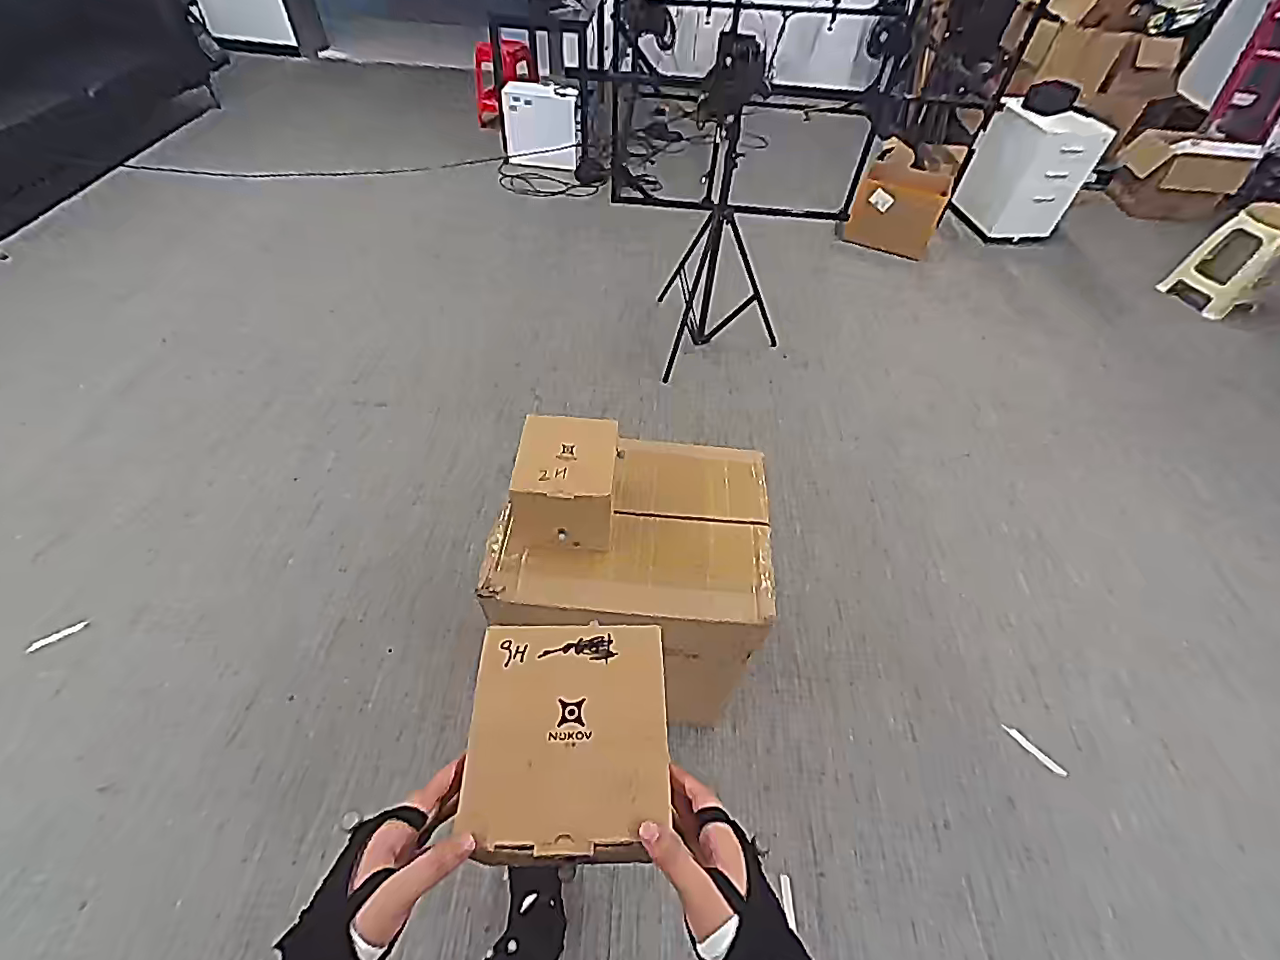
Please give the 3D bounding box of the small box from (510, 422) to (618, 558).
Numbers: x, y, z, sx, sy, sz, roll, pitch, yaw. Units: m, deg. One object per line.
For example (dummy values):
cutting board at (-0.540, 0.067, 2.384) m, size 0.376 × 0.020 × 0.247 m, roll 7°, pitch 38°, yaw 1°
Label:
small box at (-0.131, 0.019, 0.980) m, size 0.168 × 0.176 × 0.179 m, roll 4°, pitch 51°, yaw -1°
